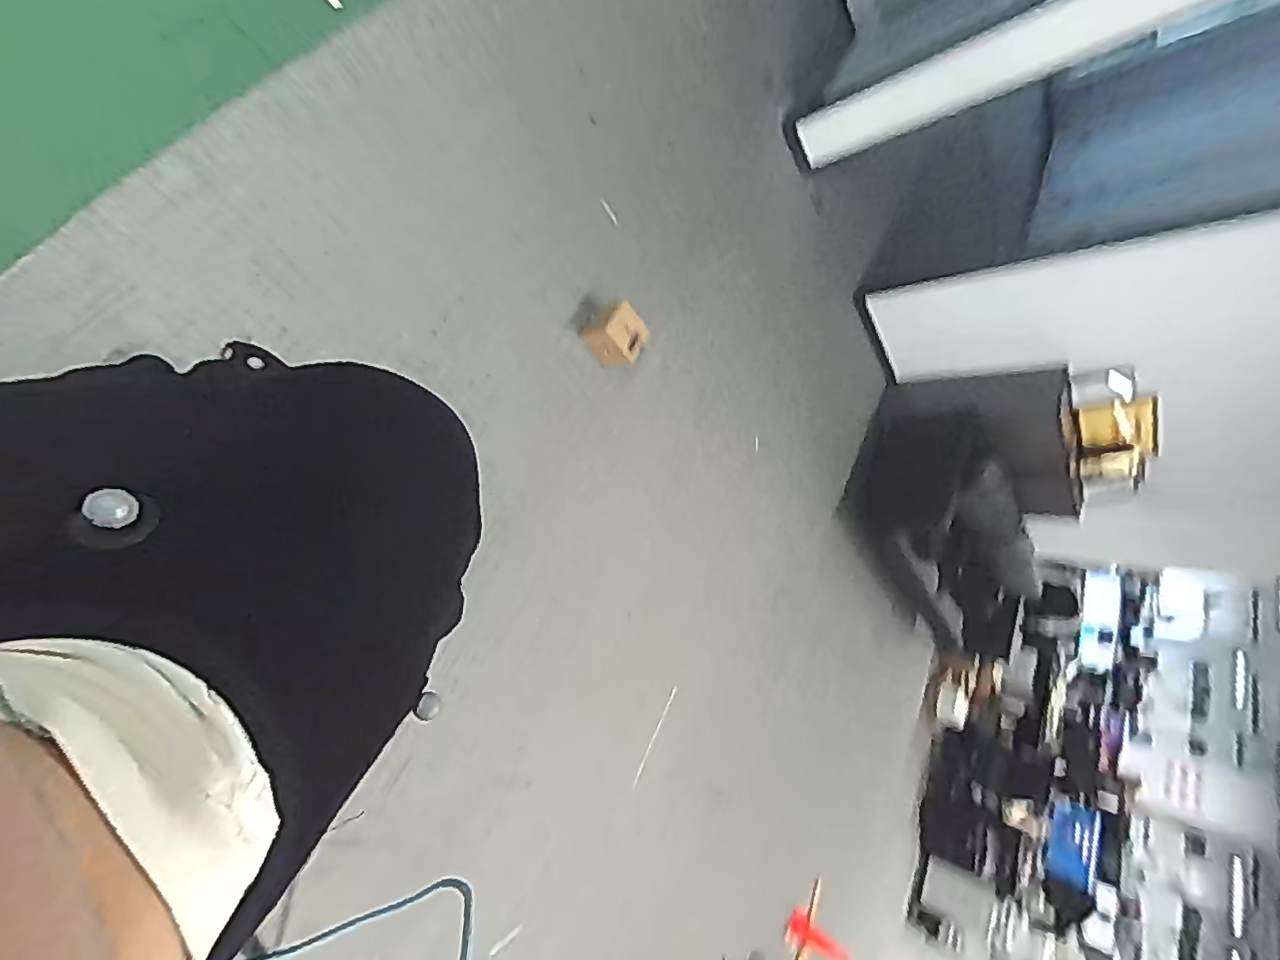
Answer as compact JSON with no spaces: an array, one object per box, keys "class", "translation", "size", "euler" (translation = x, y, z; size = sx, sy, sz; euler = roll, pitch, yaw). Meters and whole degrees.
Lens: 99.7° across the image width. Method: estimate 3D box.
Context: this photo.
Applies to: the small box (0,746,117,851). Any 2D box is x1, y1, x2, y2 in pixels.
[{"class":"small box","translation":[-1.085,0.620,0.966],"size":[0.168,0.176,0.179],"euler":[-32,115,-41]}]
